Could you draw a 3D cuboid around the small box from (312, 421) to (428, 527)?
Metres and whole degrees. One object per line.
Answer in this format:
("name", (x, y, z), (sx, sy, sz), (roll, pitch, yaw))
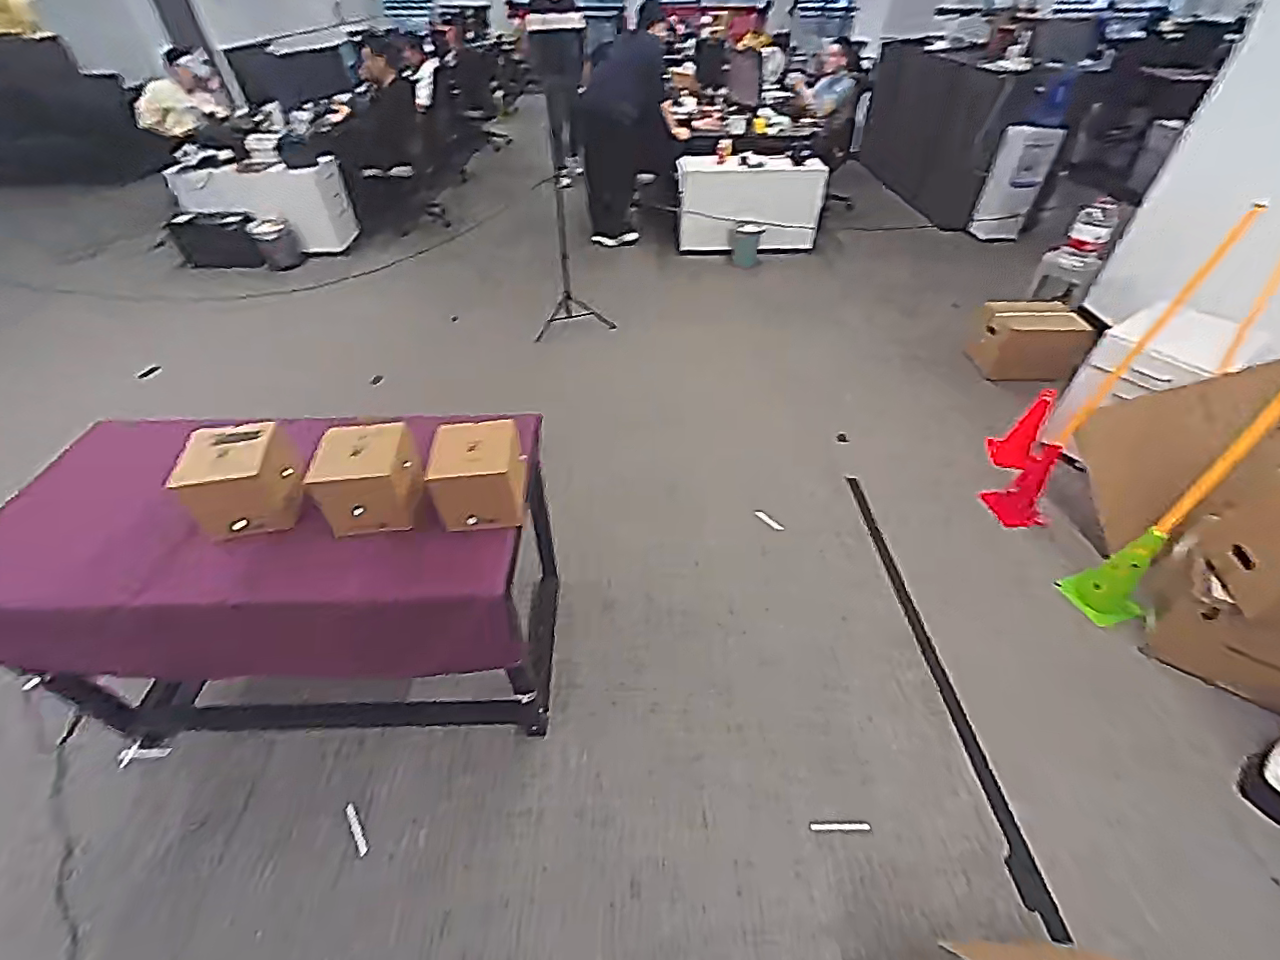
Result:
("small box", (-0.583, -0.008, 1.197), (0.168, 0.176, 0.179), (-4, 43, -5))

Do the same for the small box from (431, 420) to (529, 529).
("small box", (-0.344, -0.013, 1.202), (0.168, 0.176, 0.179), (-5, 43, -2))
